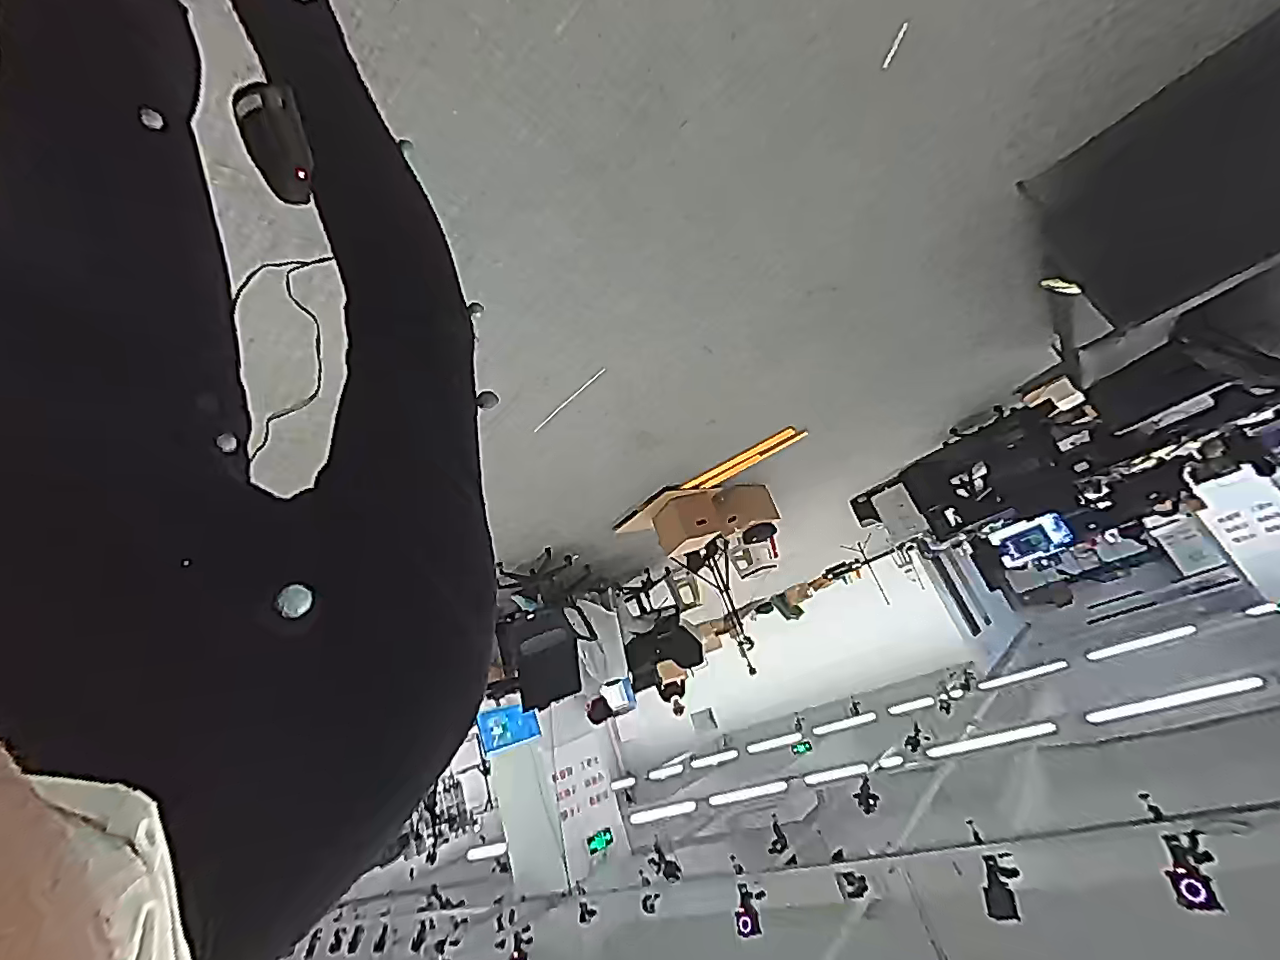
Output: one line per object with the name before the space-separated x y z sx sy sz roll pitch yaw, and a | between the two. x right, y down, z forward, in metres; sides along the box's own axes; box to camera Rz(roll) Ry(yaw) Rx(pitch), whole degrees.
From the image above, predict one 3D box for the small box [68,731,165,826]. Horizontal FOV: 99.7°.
small box | -1.367 0.777 1.417 0.168 0.176 0.179 6 146 -48
